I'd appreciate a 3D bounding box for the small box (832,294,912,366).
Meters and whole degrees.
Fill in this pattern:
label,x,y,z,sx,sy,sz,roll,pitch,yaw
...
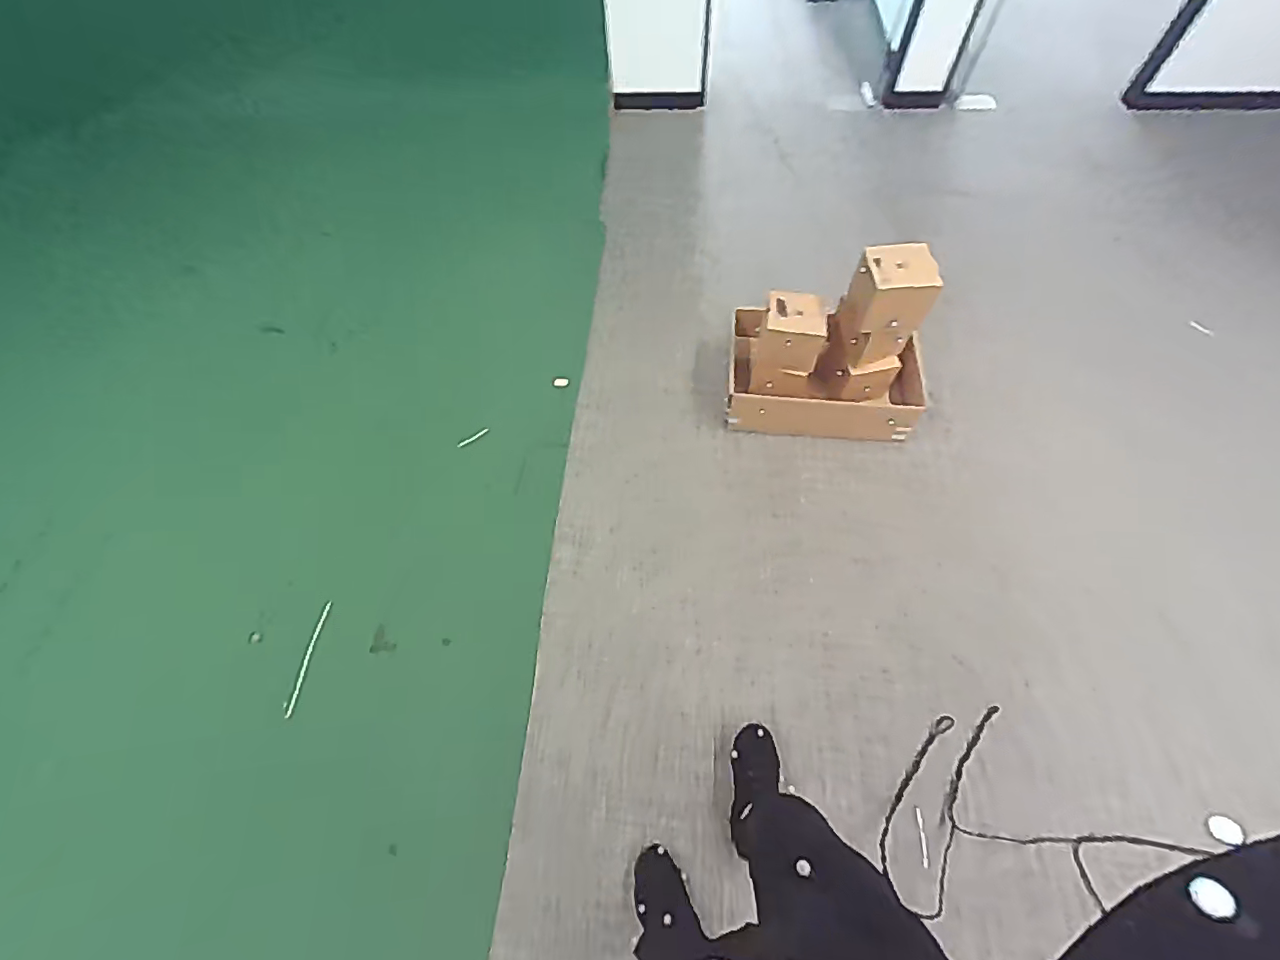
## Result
label,x,y,z,sx,sy,sz,roll,pitch,yaw
small box,0.728,-0.477,1.683,0.168,0.176,0.179,-20,62,-8

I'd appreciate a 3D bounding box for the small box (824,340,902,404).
label,x,y,z,sx,sy,sz,roll,pitch,yaw
small box,0.740,-0.371,1.811,0.168,0.176,0.179,-11,61,-3

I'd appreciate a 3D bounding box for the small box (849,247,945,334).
label,x,y,z,sx,sy,sz,roll,pitch,yaw
small box,0.716,-0.532,1.528,0.179,0.176,0.168,-3,61,0

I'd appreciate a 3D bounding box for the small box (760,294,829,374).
label,x,y,z,sx,sy,sz,roll,pitch,yaw
small box,0.475,-0.450,1.678,0.179,0.176,0.168,8,61,5
